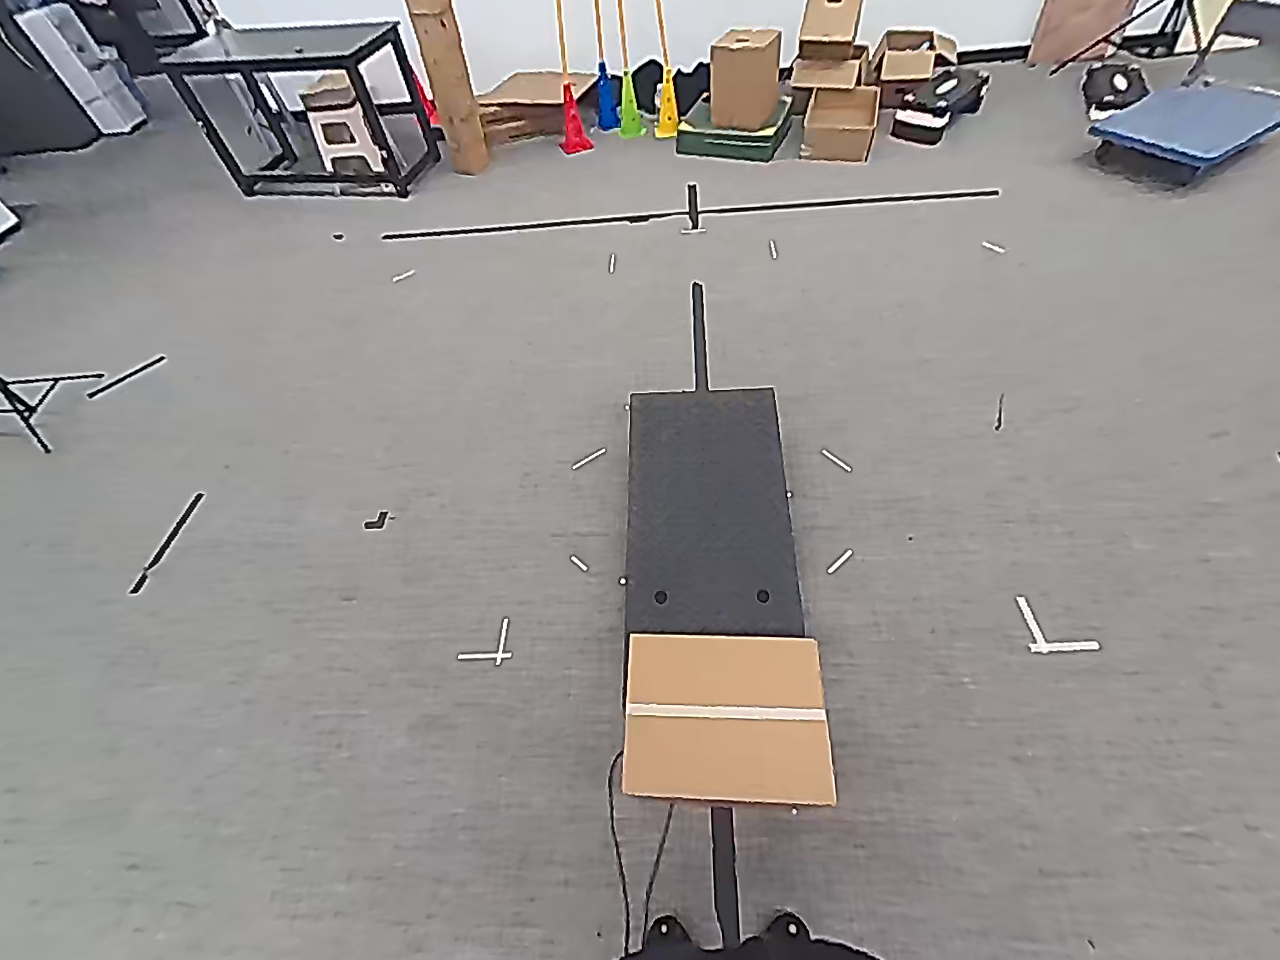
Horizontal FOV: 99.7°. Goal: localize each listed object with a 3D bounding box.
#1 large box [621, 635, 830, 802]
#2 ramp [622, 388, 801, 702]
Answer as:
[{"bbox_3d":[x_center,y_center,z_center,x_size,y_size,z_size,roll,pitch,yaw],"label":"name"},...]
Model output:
[{"bbox_3d":[0.178,0.552,1.233,0.408,0.320,0.320,0,57,5],"label":"large box"},{"bbox_3d":[0.199,0.138,1.631,0.509,0.206,0.991,-2,53,2],"label":"ramp"}]
